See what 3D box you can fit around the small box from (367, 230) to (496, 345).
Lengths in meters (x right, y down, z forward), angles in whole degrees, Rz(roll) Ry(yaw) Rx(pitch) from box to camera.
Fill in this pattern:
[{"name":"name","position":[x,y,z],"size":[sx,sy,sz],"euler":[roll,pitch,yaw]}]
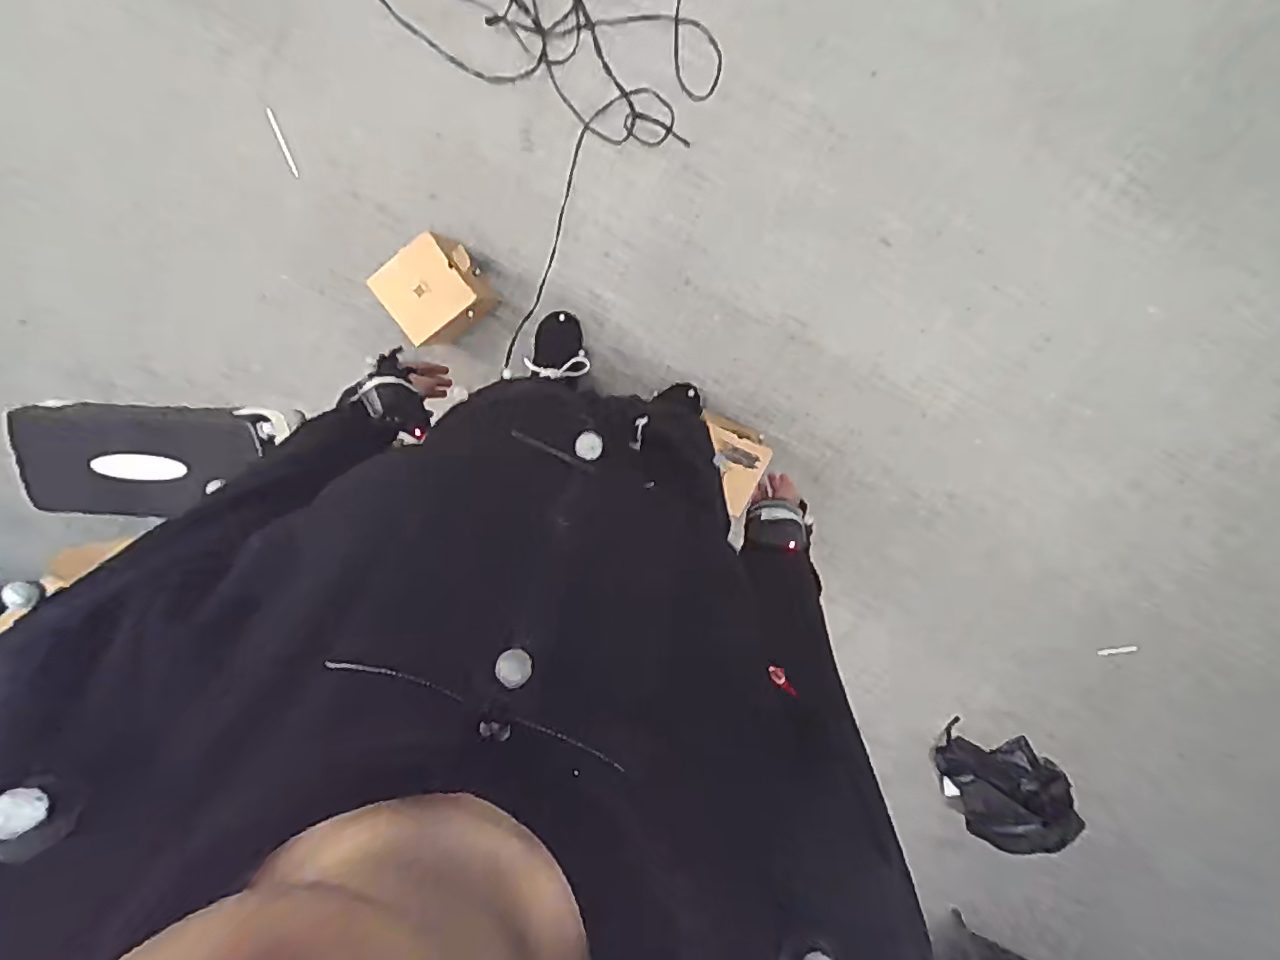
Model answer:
[{"name":"small box","position":[-0.450,-0.418,1.199],"size":[0.179,0.176,0.168],"euler":[-34,102,11]}]
